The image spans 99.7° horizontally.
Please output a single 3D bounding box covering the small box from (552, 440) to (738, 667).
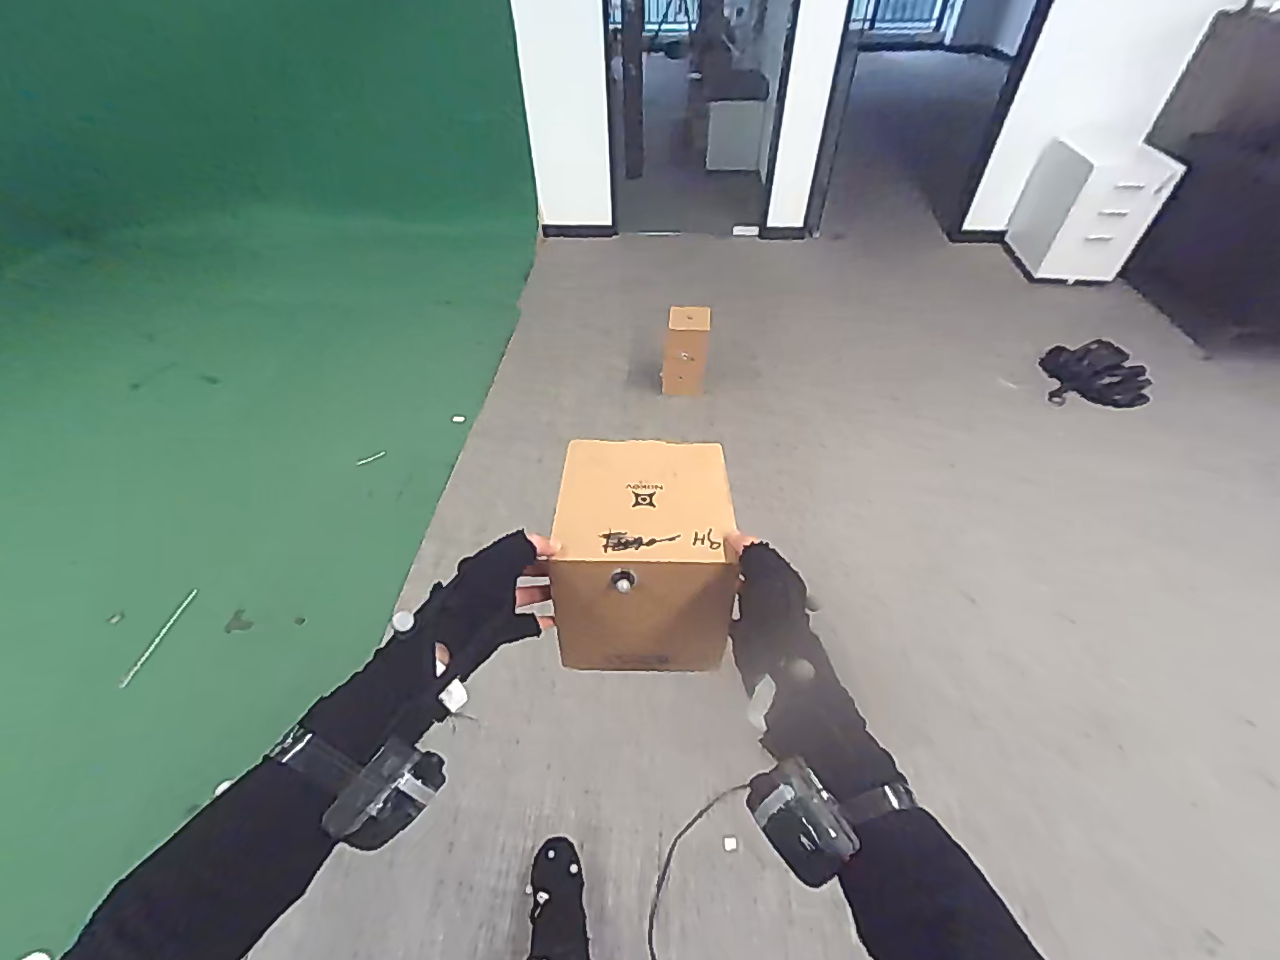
[{"bbox_3d":[0.005,0.075,0.580,0.168,0.176,0.179,1,38,1],"label":"small box"}]

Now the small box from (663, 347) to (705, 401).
[{"bbox_3d":[0.193,-0.462,2.361,0.179,0.176,0.168,3,46,5],"label":"small box"}]

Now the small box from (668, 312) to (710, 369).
[{"bbox_3d":[0.205,-0.579,2.251,0.168,0.176,0.179,2,47,5],"label":"small box"}]
